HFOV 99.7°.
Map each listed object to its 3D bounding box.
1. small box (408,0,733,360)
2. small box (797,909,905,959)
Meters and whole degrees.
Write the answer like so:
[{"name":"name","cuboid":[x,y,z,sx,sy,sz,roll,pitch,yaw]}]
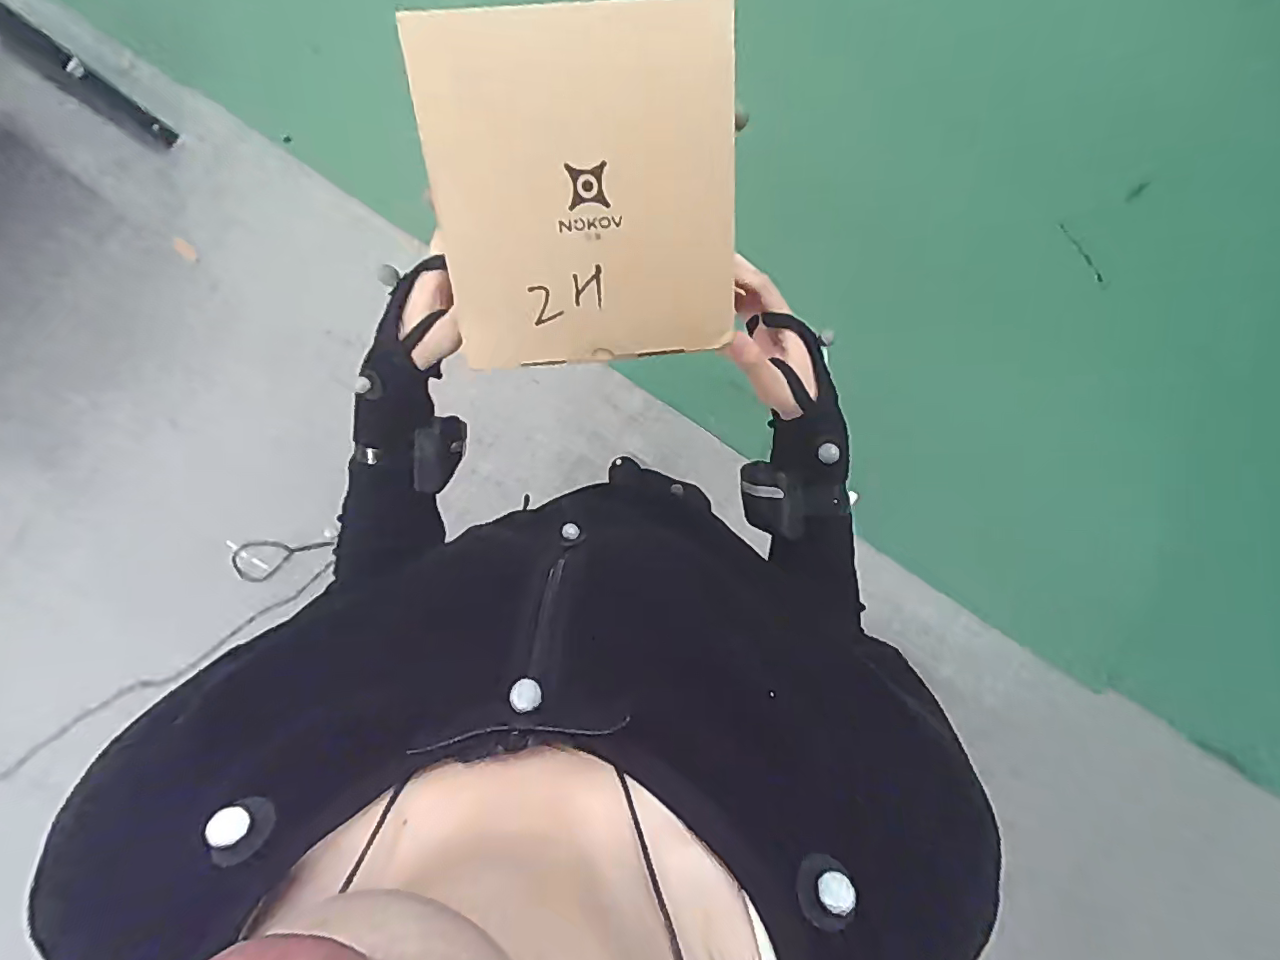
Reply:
[{"name":"small box","cuboid":[-0.036,-0.192,0.375,0.168,0.176,0.179,-6,115,-2]},{"name":"small box","cuboid":[0.355,0.858,0.866,0.168,0.176,0.179,28,88,-1]}]
